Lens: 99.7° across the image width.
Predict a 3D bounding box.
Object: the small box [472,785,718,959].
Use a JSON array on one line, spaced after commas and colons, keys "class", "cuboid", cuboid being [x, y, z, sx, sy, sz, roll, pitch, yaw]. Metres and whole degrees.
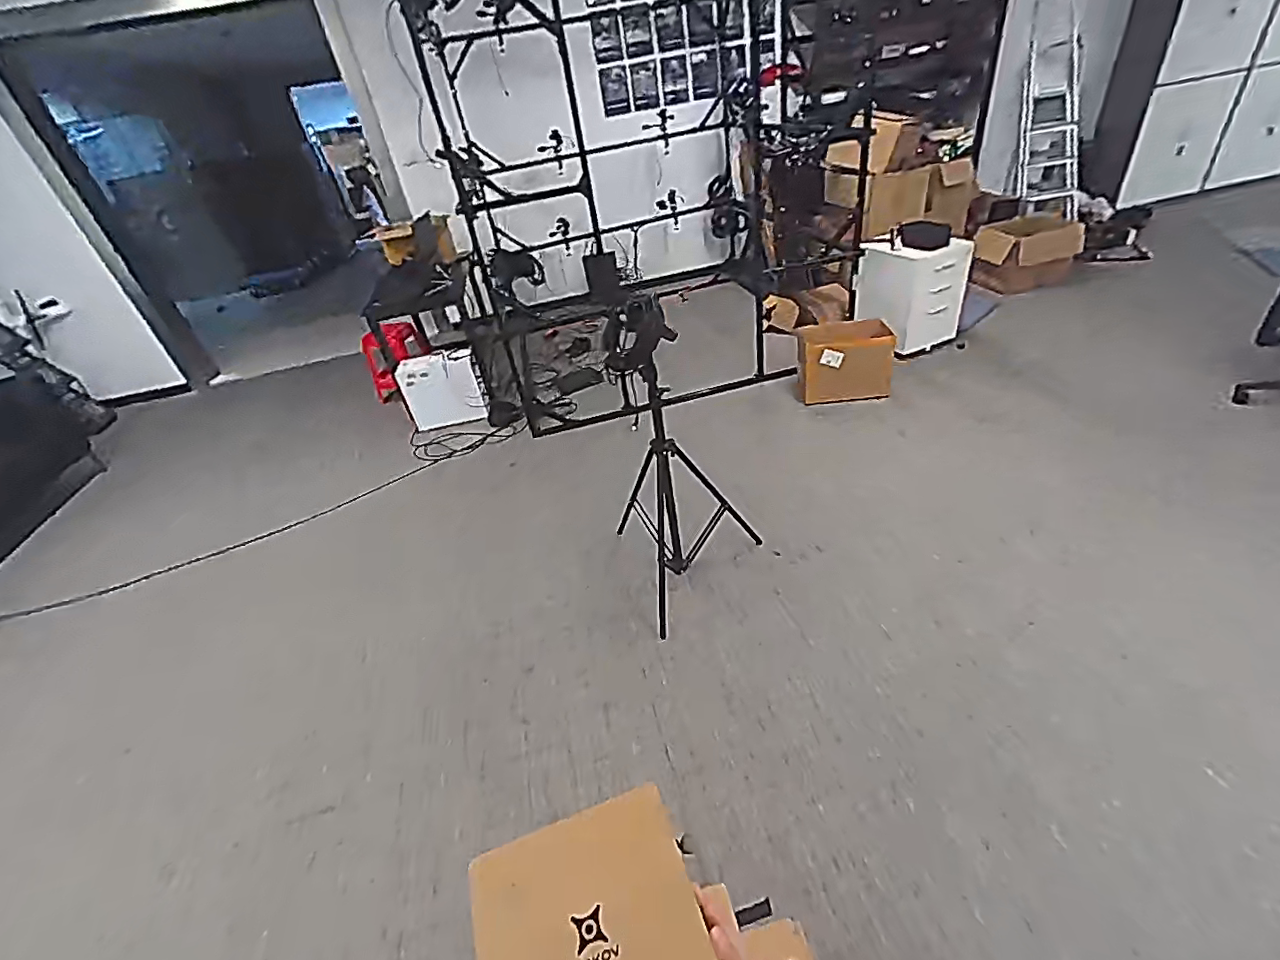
[{"class": "small box", "cuboid": [-0.026, 0.396, 0.441, 0.168, 0.176, 0.179, -18, 42, -10]}]
